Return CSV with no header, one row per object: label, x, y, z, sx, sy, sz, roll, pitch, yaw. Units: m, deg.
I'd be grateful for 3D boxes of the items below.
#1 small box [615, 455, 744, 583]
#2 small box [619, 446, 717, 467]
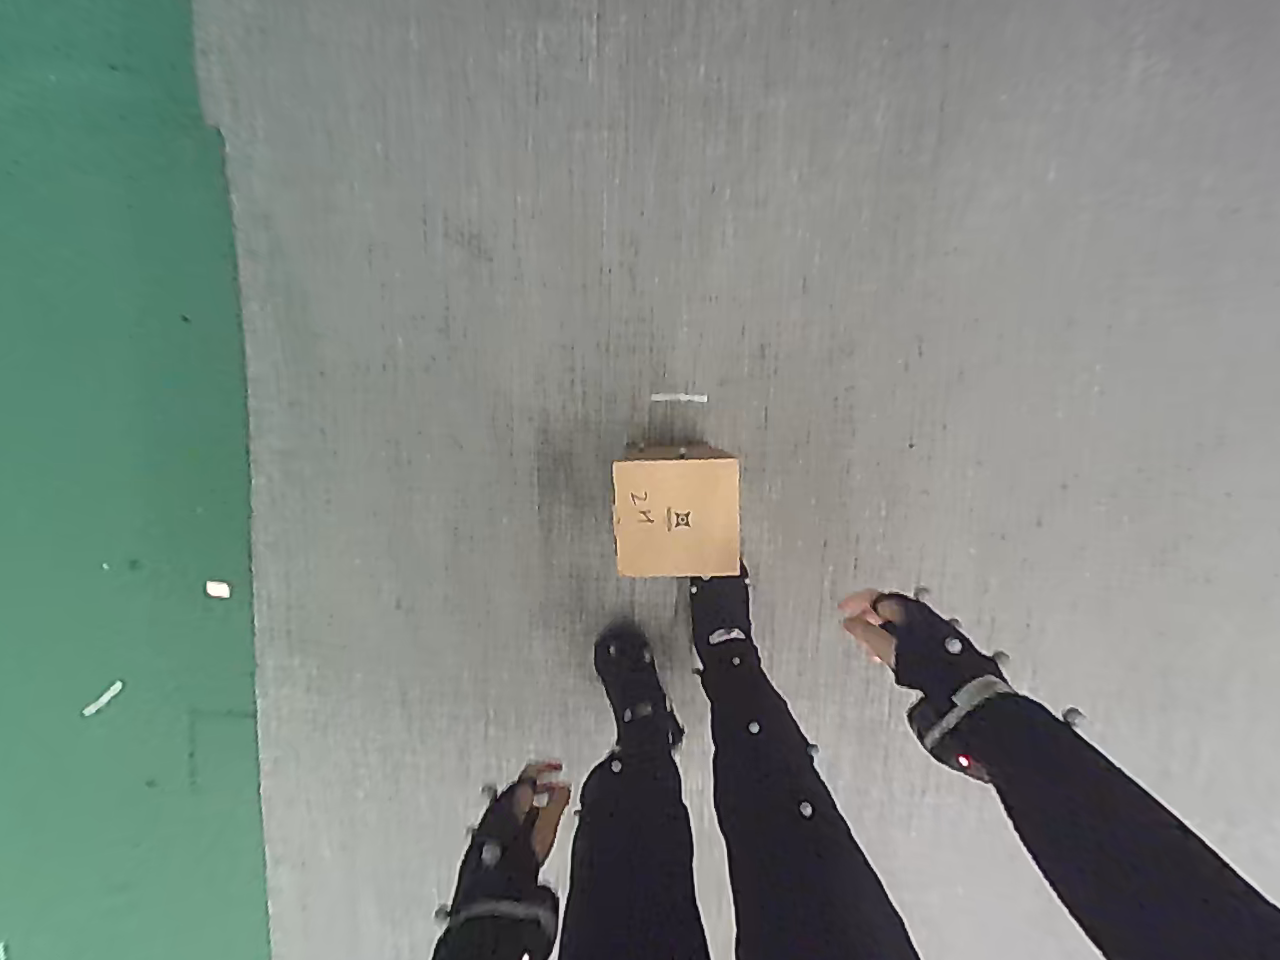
small box,0.056,0.051,0.817,0.179,0.176,0.168,-1,97,3
small box,0.057,0.028,0.981,0.179,0.176,0.168,-1,98,4
